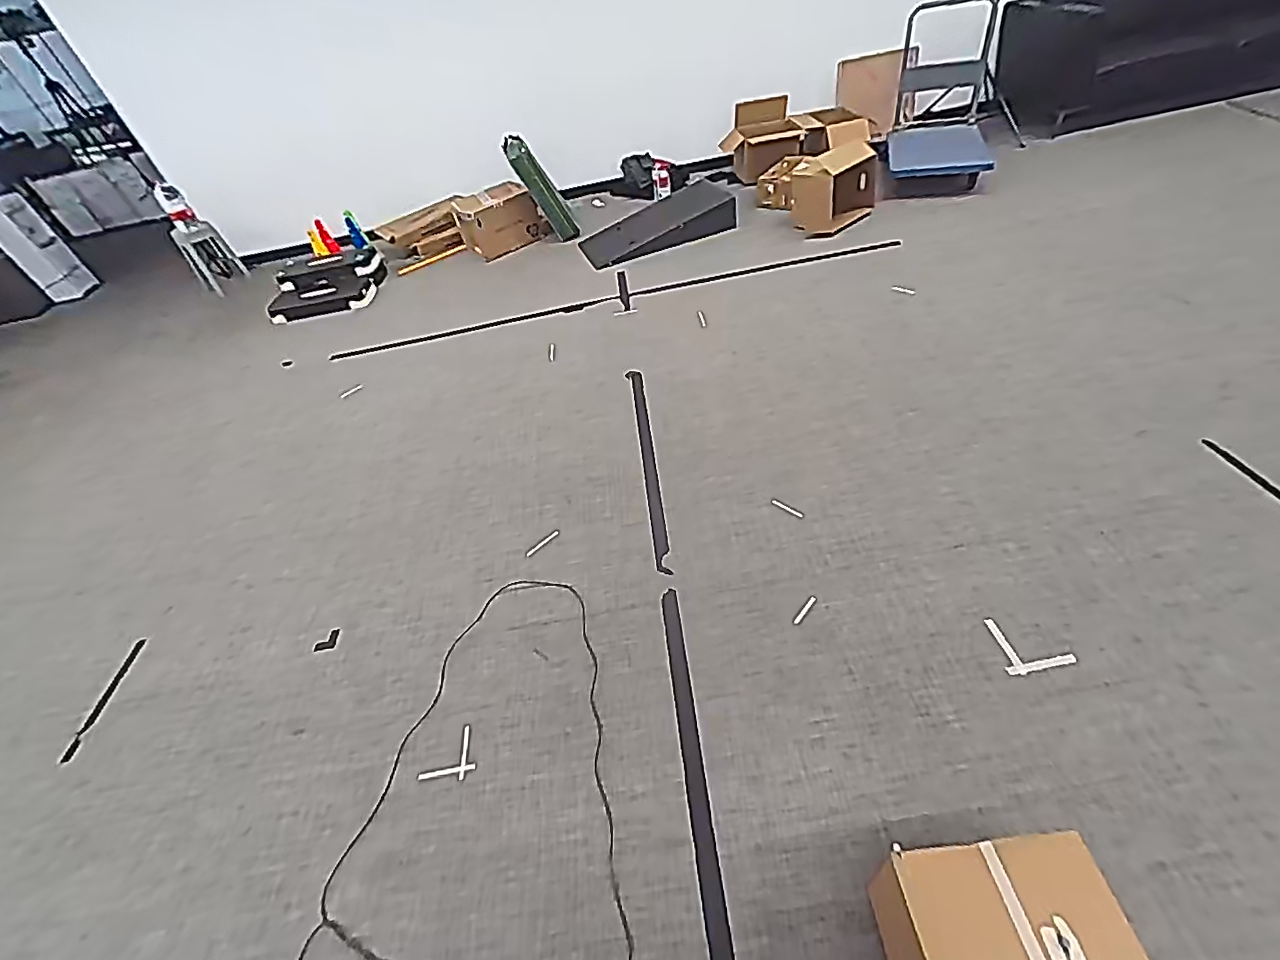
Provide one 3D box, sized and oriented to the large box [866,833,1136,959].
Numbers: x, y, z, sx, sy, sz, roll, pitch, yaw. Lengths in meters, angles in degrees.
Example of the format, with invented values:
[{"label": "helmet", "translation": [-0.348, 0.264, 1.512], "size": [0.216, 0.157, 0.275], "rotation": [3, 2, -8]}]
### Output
[{"label": "large box", "translation": [0.615, 0.869, 0.888], "size": [0.320, 0.320, 0.408], "rotation": [-8, 43, 2]}]
